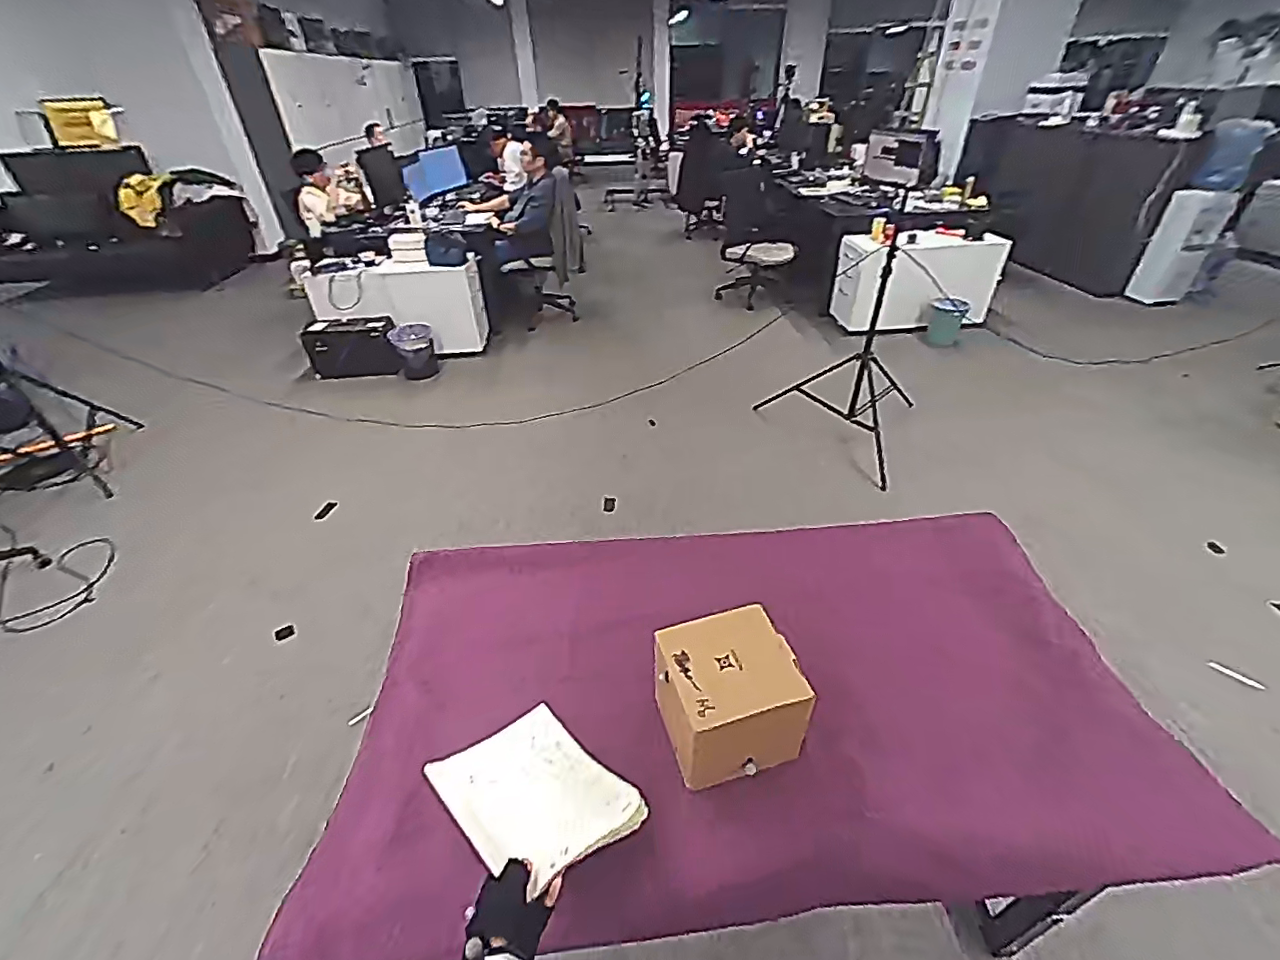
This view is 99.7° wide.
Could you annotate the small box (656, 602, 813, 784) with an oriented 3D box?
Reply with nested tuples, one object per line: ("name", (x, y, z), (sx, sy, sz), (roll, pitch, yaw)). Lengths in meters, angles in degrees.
("small box", (0.127, 0.314, 0.804), (0.179, 0.176, 0.168), (-11, 36, -13))
